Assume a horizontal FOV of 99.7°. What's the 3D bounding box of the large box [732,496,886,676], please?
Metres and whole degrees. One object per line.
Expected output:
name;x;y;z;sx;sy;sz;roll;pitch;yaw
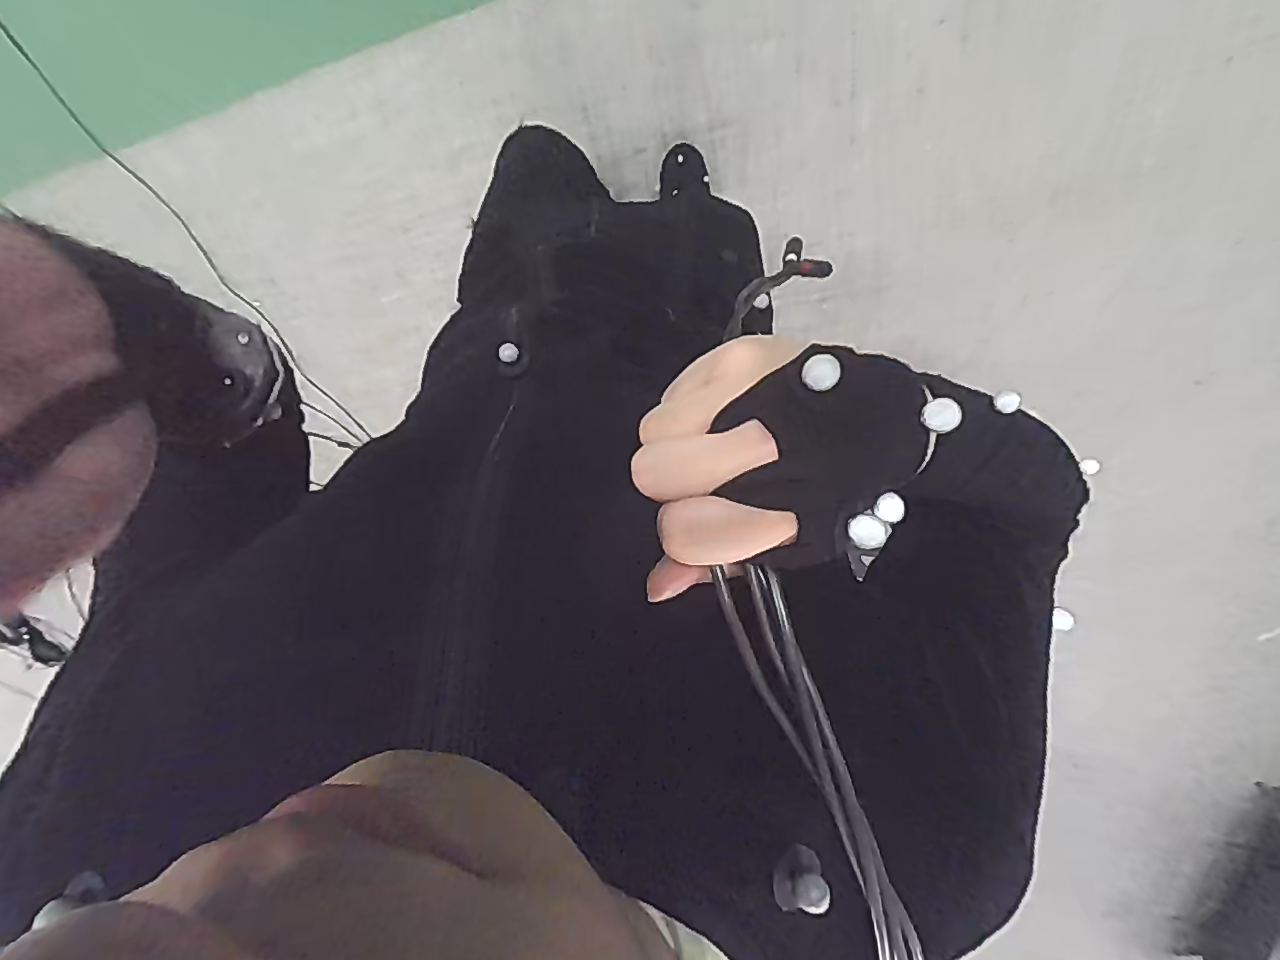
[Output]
large box;0.457;0.300;1.563;0.320;0.320;0.408;7;124;2
